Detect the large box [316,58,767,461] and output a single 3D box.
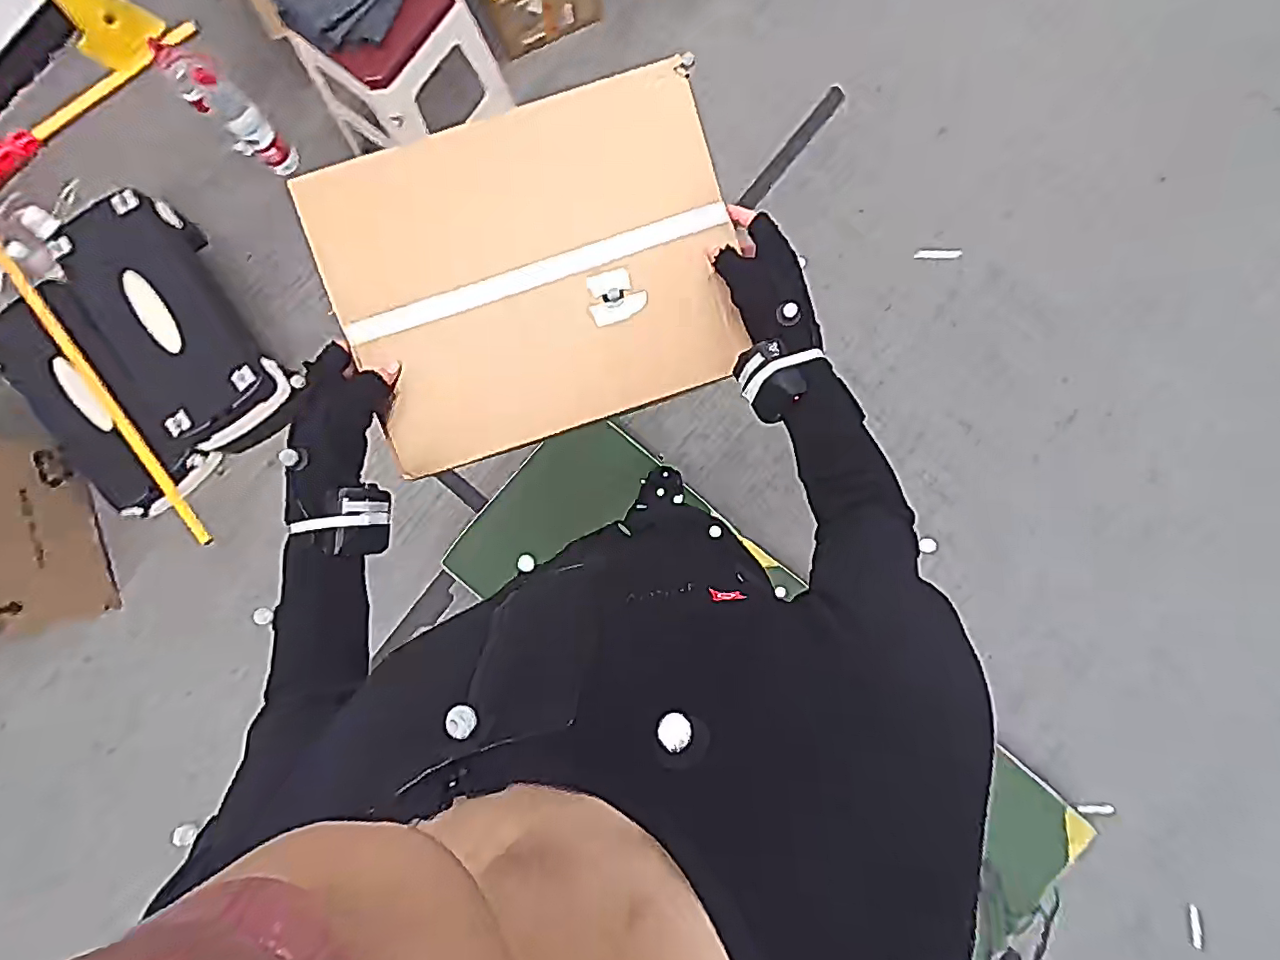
[{"bbox_3d":[-0.104,-0.238,0.710,0.408,0.320,0.320,-18,97,-2],"label":"large box"}]
